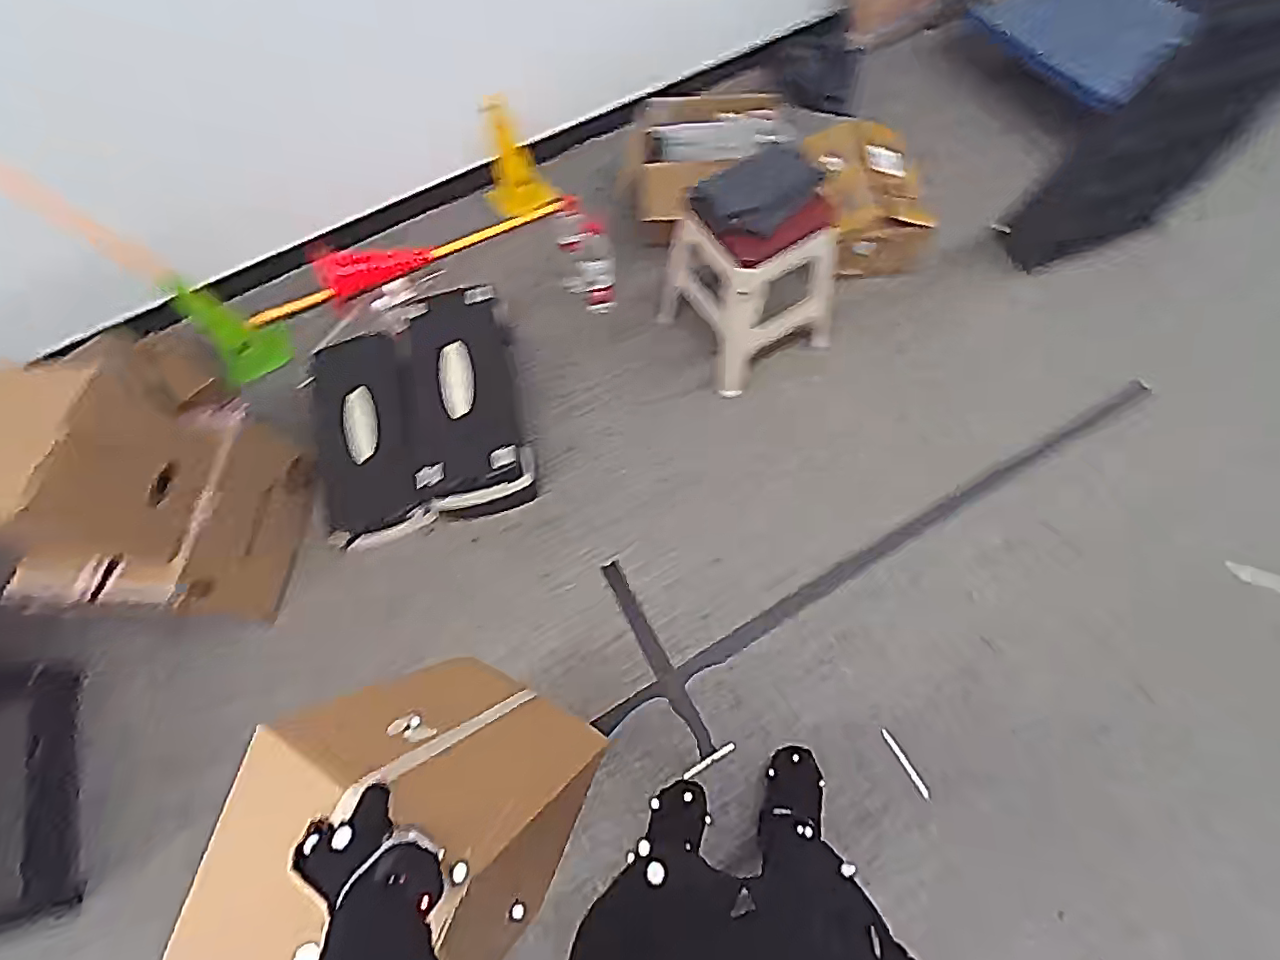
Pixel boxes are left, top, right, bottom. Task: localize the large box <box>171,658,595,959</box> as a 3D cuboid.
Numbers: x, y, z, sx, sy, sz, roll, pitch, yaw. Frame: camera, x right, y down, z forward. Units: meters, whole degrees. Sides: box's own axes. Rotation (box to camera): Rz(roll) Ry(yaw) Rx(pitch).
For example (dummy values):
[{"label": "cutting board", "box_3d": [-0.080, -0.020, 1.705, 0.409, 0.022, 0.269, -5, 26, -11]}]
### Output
[{"label": "large box", "box_3d": [-0.320, 0.511, 0.781, 0.320, 0.408, 0.320, 23, 92, 18]}]
